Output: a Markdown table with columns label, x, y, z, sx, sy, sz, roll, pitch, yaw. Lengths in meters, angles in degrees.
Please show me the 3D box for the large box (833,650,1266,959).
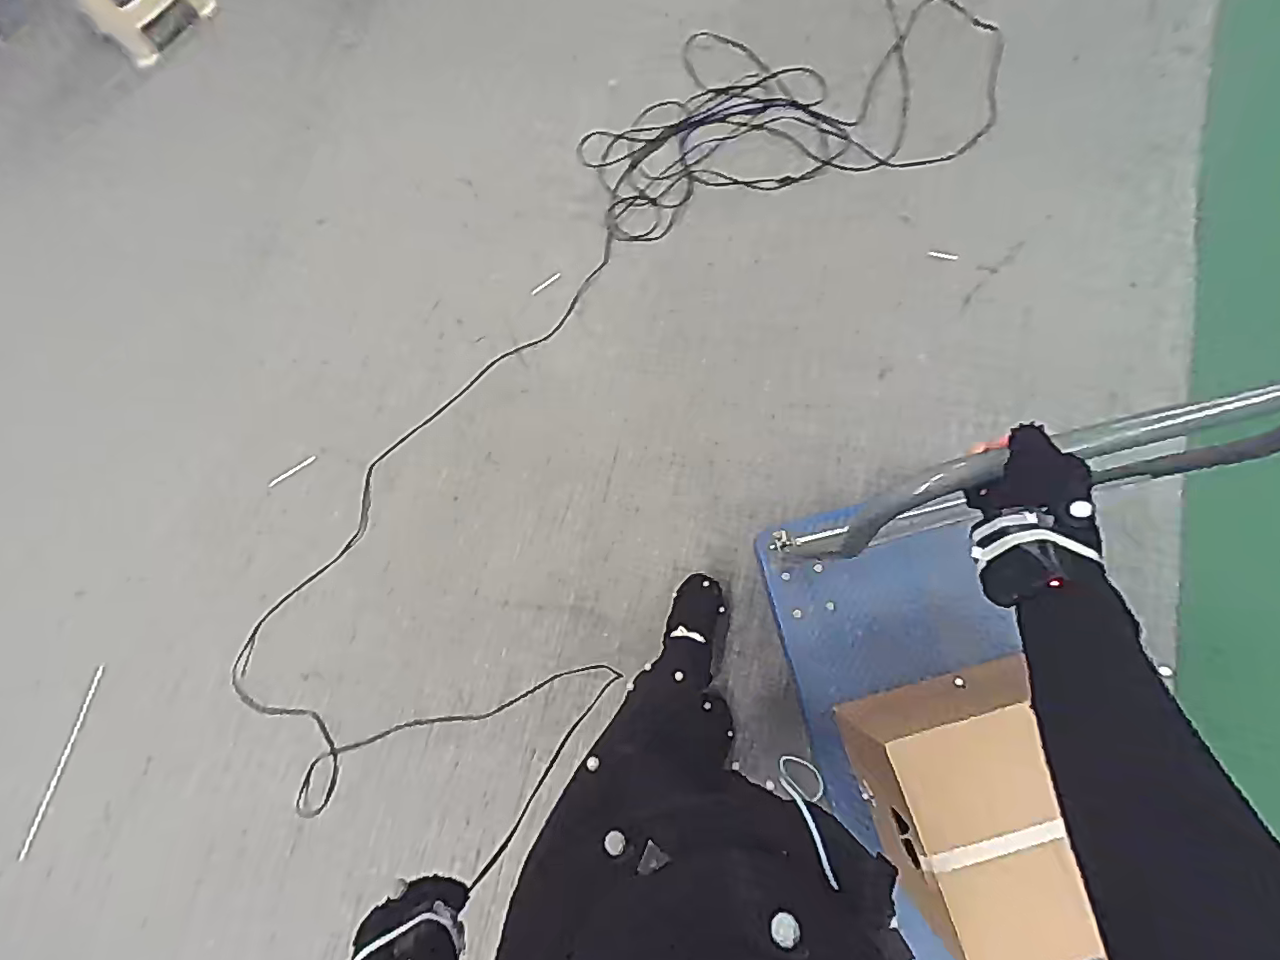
| label | x | y | z | sx | sy | sz | roll | pitch | yaw |
| --- | --- | --- | --- | --- | --- | --- | --- | --- | --- |
| large box | 0.596 | 0.495 | 0.884 | 0.408 | 0.320 | 0.320 | -18 | 76 | 0 |
